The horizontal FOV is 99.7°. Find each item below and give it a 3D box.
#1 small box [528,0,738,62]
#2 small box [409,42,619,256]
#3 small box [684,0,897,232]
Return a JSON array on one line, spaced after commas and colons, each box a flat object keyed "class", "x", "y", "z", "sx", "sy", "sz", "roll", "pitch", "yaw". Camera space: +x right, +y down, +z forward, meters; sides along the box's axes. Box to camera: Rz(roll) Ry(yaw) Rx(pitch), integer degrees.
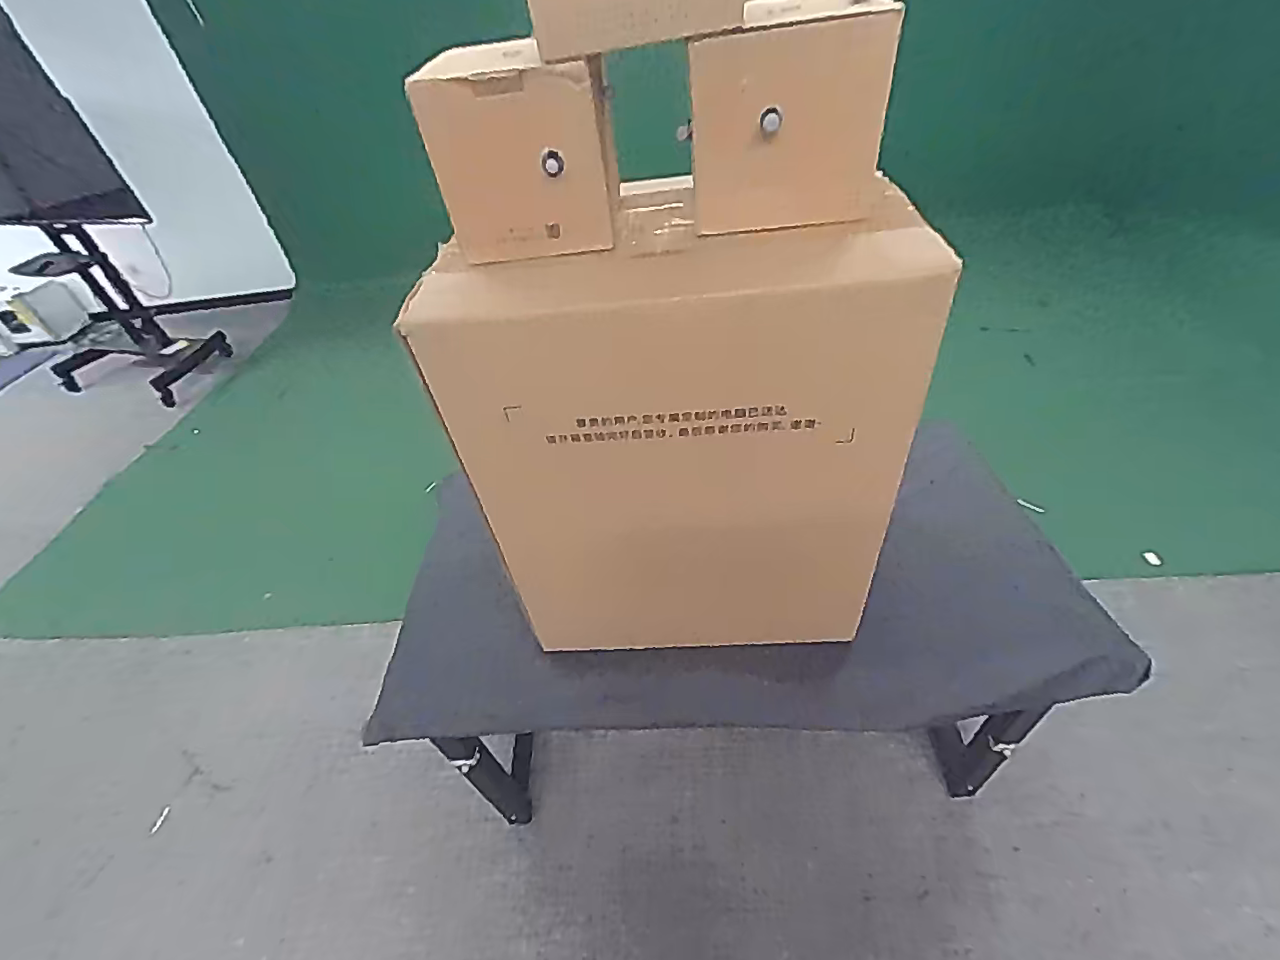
[{"class": "small box", "x": -0.009, "y": -0.478, "z": 0.454, "sx": 0.179, "sy": 0.176, "sz": 0.168, "roll": -5, "pitch": 46, "yaw": 7}, {"class": "small box", "x": -0.115, "y": -0.355, "z": 0.585, "sx": 0.168, "sy": 0.176, "sz": 0.179, "roll": -3, "pitch": 45, "yaw": 4}, {"class": "small box", "x": 0.140, "y": -0.373, "z": 0.558, "sx": 0.179, "sy": 0.176, "sz": 0.168, "roll": -4, "pitch": 47, "yaw": 8}]
